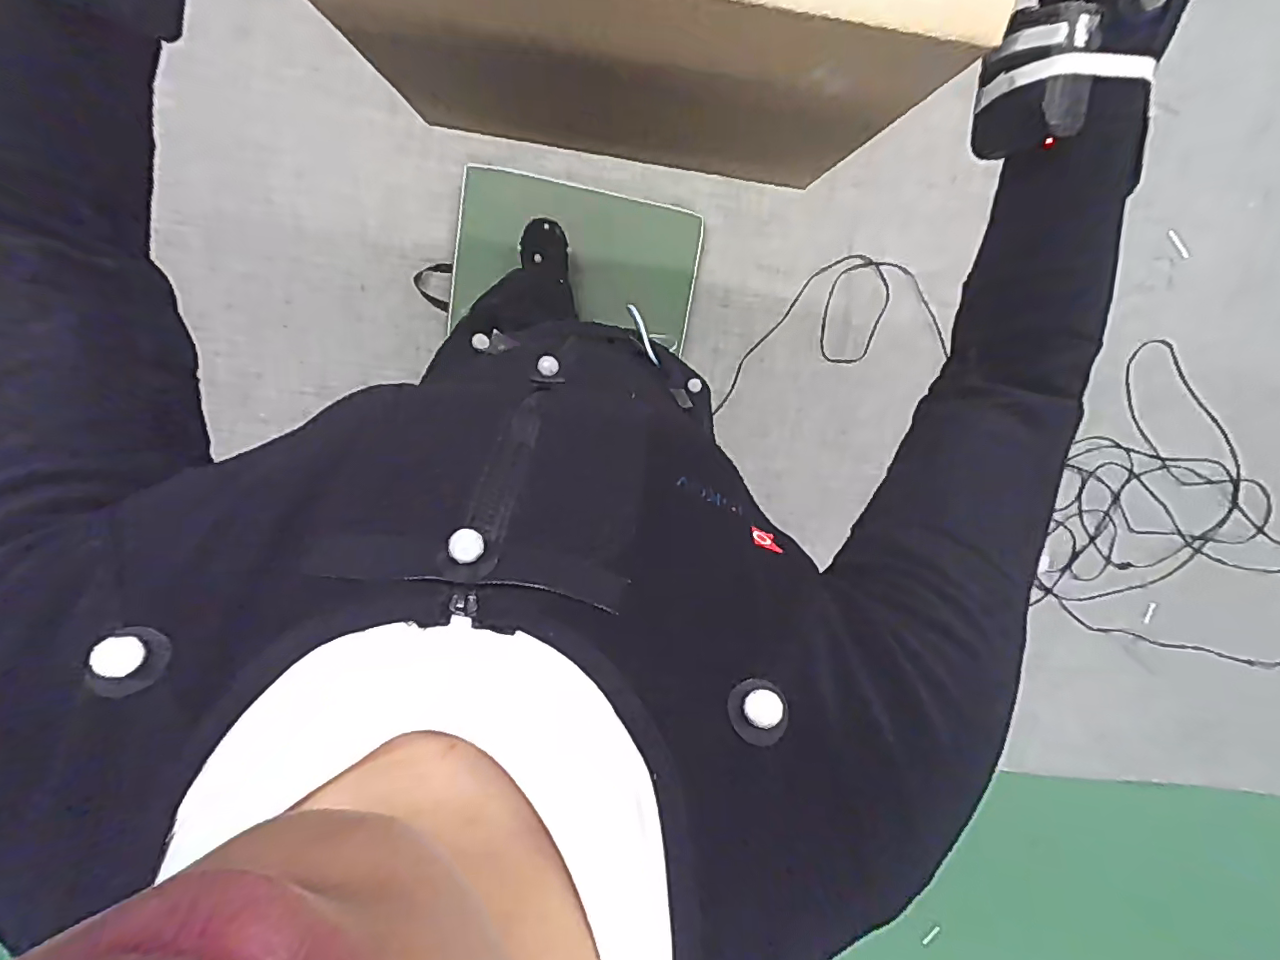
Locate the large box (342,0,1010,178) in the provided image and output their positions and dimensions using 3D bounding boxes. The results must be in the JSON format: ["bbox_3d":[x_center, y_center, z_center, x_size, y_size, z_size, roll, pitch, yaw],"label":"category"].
[{"bbox_3d":[0.012,-0.450,0.386,0.408,0.320,0.320,7,106,-5],"label":"large box"}]
